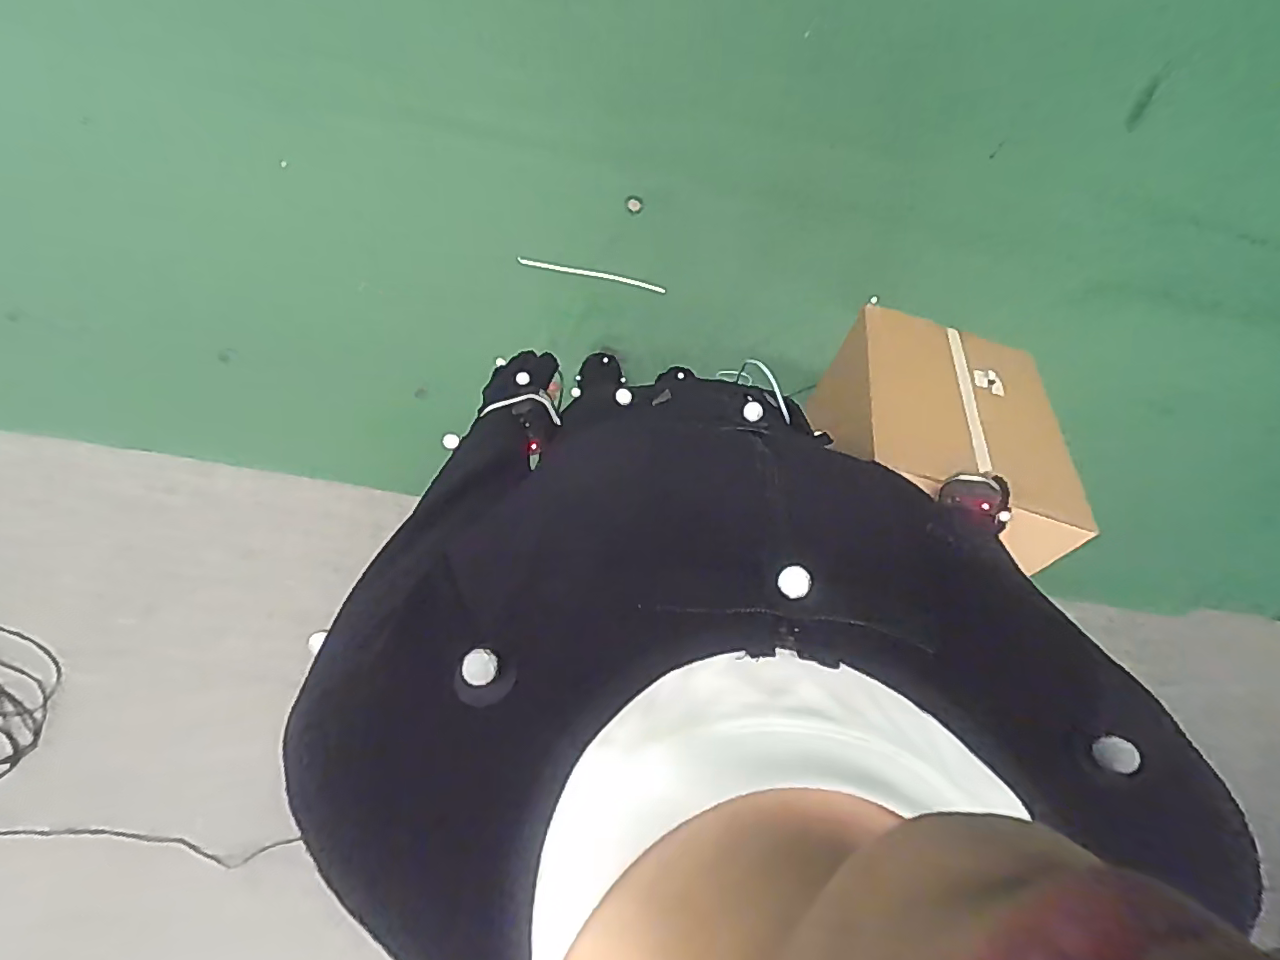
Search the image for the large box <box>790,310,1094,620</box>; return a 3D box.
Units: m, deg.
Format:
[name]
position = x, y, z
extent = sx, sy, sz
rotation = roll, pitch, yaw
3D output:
[large box]
position = 0.475, -0.026, 0.957
extent = 0.320, 0.408, 0.320
rotation = 18, 140, -1
